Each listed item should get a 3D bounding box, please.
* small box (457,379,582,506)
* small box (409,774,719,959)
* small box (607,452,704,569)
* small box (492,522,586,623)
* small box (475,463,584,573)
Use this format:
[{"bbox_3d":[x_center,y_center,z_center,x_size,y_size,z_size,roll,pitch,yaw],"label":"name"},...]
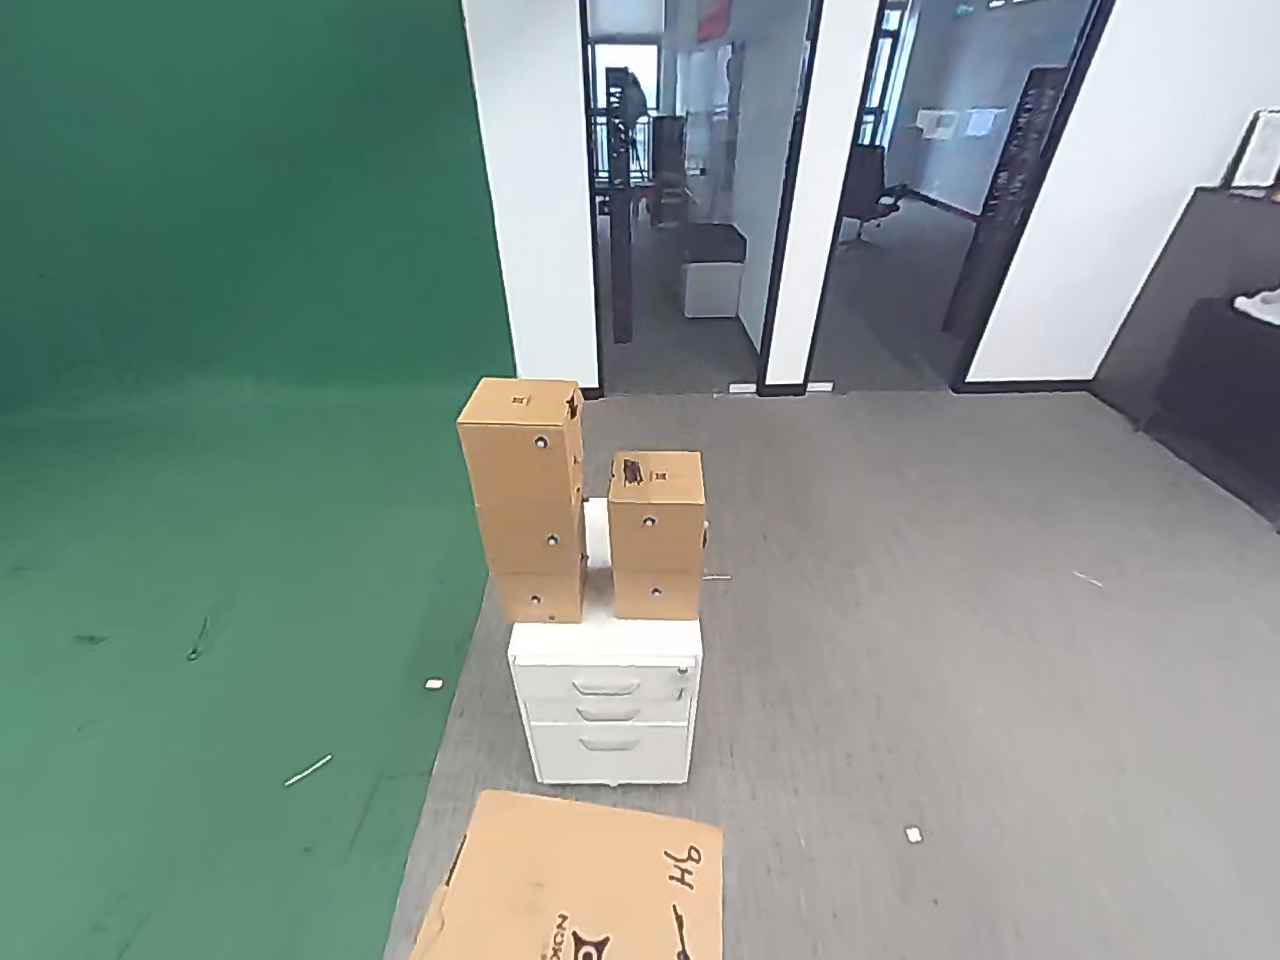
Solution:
[{"bbox_3d":[-0.202,-0.068,0.961,0.179,0.176,0.168,2,36,0],"label":"small box"},{"bbox_3d":[-0.045,0.335,0.364,0.179,0.176,0.168,7,34,5],"label":"small box"},{"bbox_3d":[0.032,0.061,1.062,0.179,0.176,0.168,1,37,2],"label":"small box"},{"bbox_3d":[-0.207,0.188,1.162,0.168,0.176,0.179,2,37,-1],"label":"small box"},{"bbox_3d":[-0.203,0.067,1.054,0.179,0.176,0.168,0,35,-1],"label":"small box"}]
